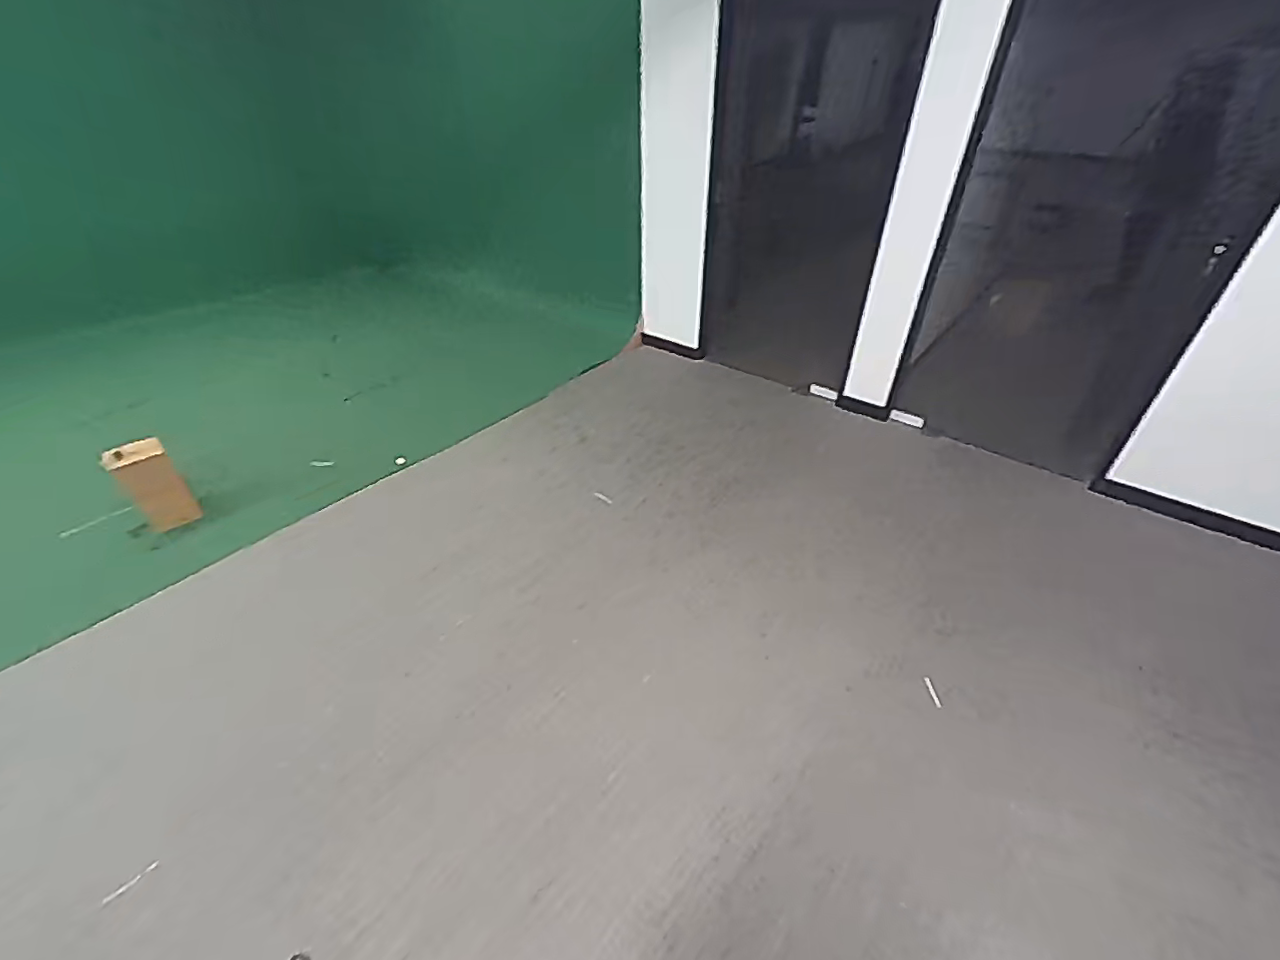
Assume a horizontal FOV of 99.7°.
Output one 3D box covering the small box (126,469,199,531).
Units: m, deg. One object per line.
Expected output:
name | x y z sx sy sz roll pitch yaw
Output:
small box | -1.974 0.089 2.240 0.168 0.176 0.179 -29 46 -33
